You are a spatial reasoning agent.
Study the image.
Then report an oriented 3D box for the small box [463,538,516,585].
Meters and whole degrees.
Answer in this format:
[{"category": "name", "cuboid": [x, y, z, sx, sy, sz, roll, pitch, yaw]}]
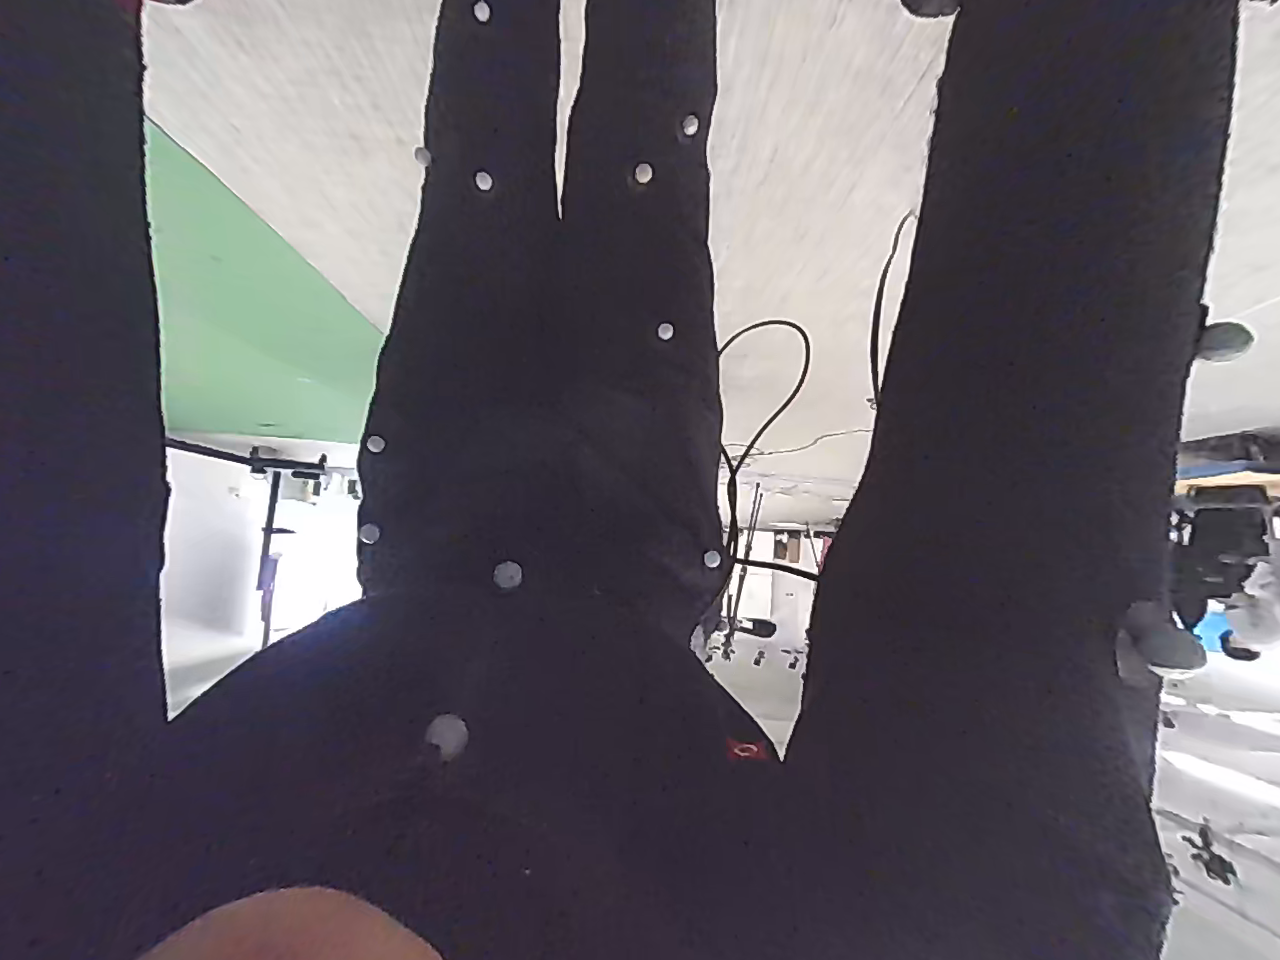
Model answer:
[{"category": "small box", "cuboid": [-0.600, 0.326, 2.179, 0.179, 0.176, 0.168, 5, 172, -3]}]
